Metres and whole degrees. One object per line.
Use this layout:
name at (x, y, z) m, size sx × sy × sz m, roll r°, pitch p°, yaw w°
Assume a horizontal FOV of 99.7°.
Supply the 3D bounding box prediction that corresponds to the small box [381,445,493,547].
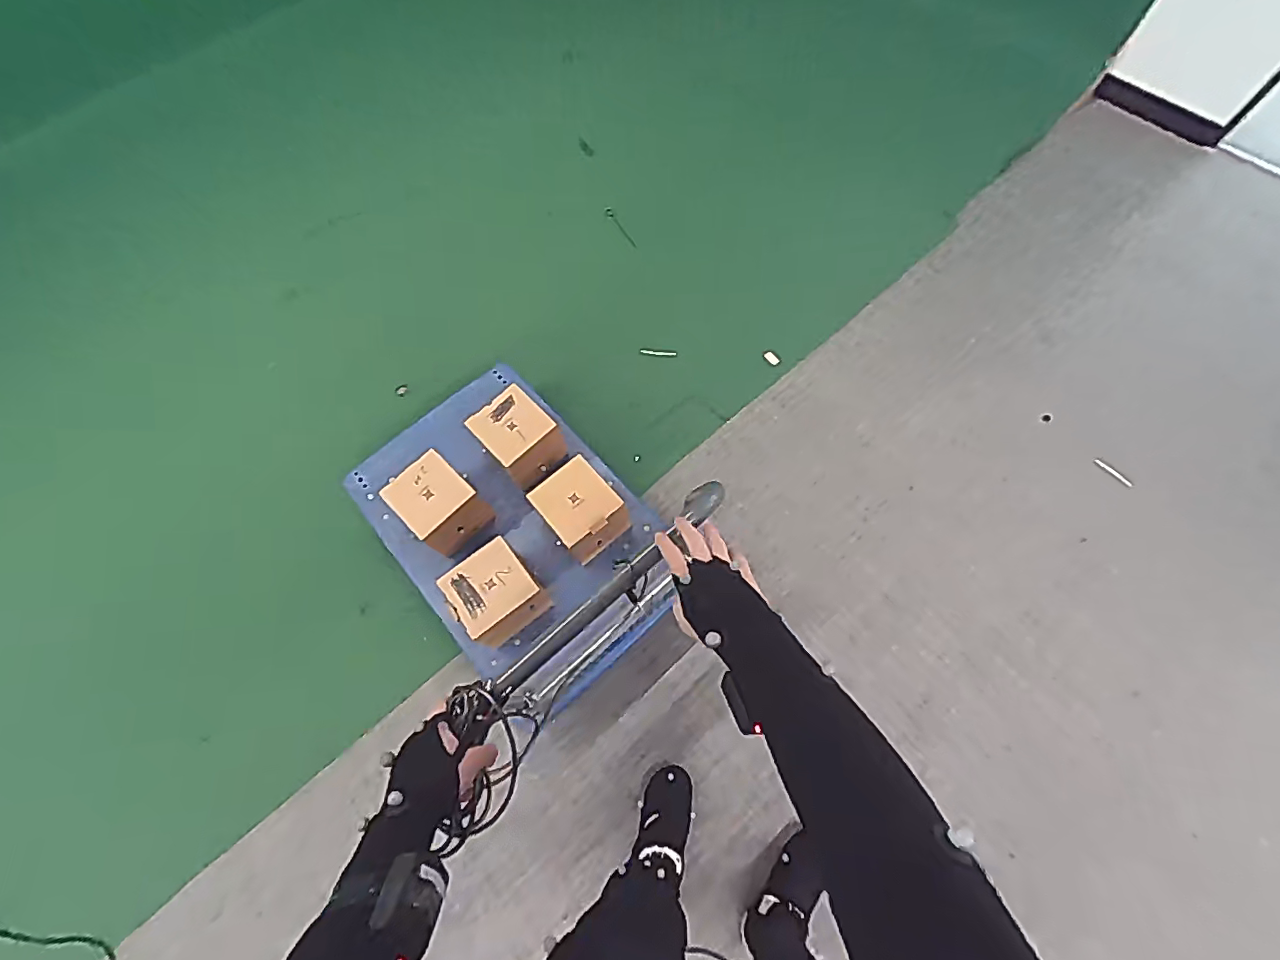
small box at (-0.499, 0.050, 1.357) m, size 0.179 × 0.176 × 0.168 m, roll 42°, pitch 75°, yaw 17°

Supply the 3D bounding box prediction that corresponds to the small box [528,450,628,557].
small box at (-0.146, 0.065, 1.332) m, size 0.168 × 0.176 × 0.179 m, roll -39°, pitch 72°, yaw -12°

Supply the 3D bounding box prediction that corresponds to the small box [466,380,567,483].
small box at (-0.316, -0.120, 1.413) m, size 0.168 × 0.176 × 0.179 m, roll -42°, pitch 73°, yaw -12°
